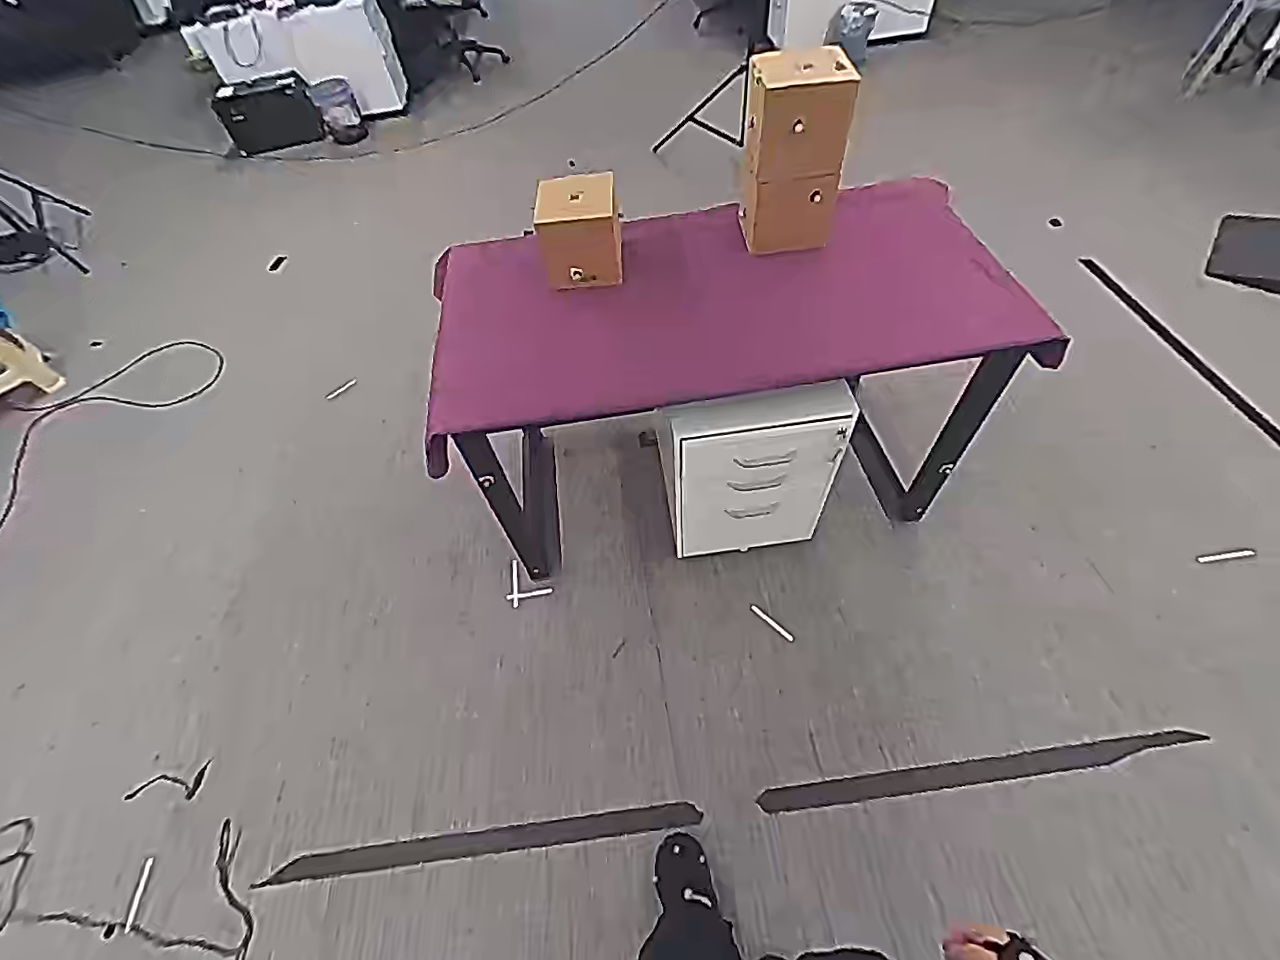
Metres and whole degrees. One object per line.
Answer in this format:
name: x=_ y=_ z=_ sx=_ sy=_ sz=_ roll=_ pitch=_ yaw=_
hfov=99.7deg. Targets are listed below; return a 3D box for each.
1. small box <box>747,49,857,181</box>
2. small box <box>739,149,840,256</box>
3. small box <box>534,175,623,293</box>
small box: x=0.312 y=-0.726 z=1.087 sx=0.179 sy=0.176 sz=0.168 roll=-5 pitch=56 yaw=3
small box: x=0.327 y=-0.631 z=1.220 sx=0.179 sy=0.176 sz=0.168 roll=-6 pitch=55 yaw=2
small box: x=-0.129 y=-0.545 z=1.205 sx=0.168 sy=0.176 sz=0.179 roll=-5 pitch=57 yaw=4
